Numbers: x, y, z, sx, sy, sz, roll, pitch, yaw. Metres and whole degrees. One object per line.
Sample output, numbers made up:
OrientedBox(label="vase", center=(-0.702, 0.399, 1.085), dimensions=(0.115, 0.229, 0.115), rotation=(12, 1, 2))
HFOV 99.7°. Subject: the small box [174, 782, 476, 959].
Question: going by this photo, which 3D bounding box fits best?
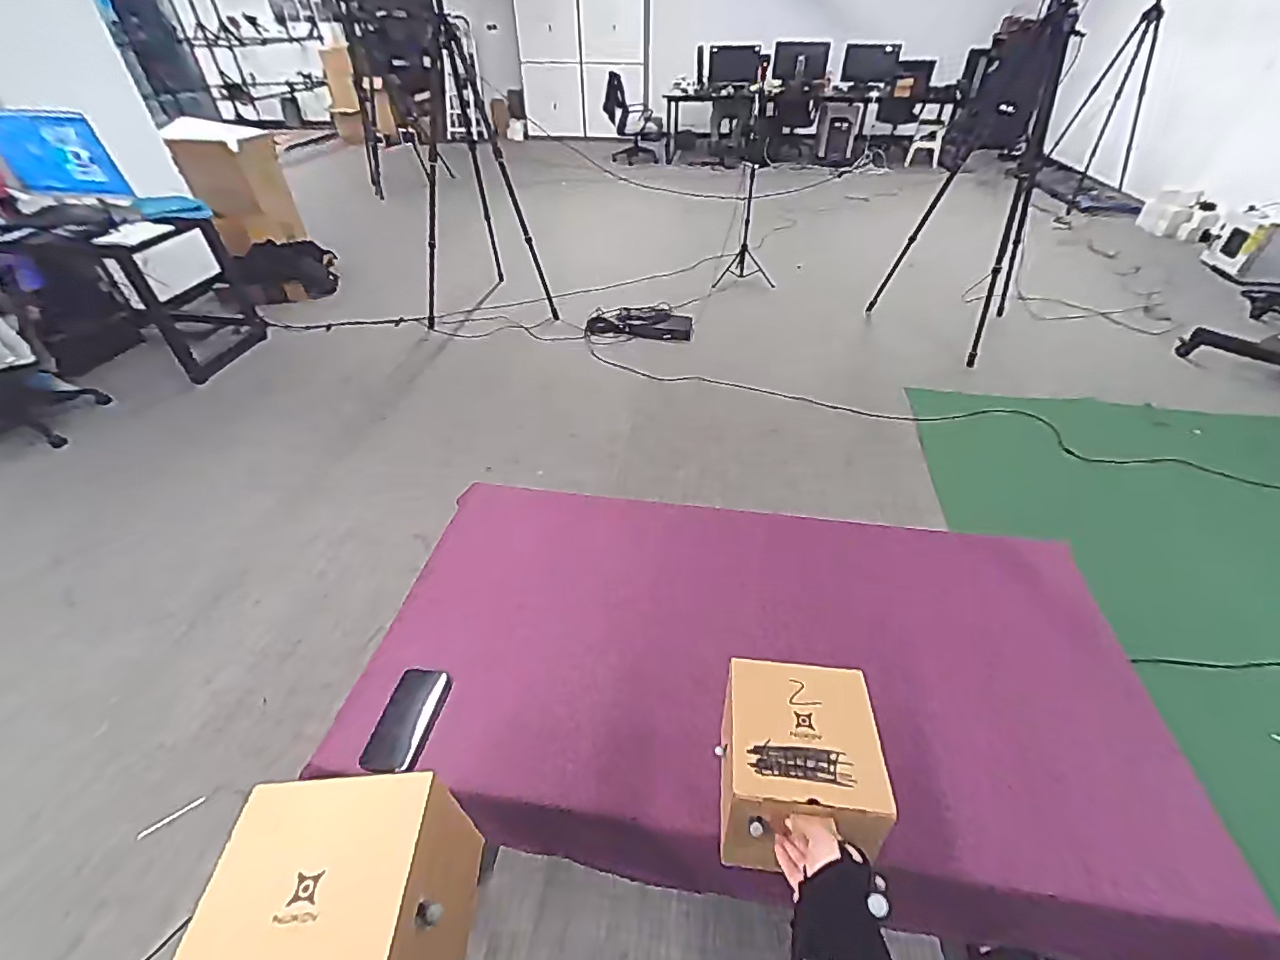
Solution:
OrientedBox(label="small box", center=(-0.252, 0.389, 0.465), dimensions=(0.168, 0.176, 0.179), rotation=(-4, 39, 1))
